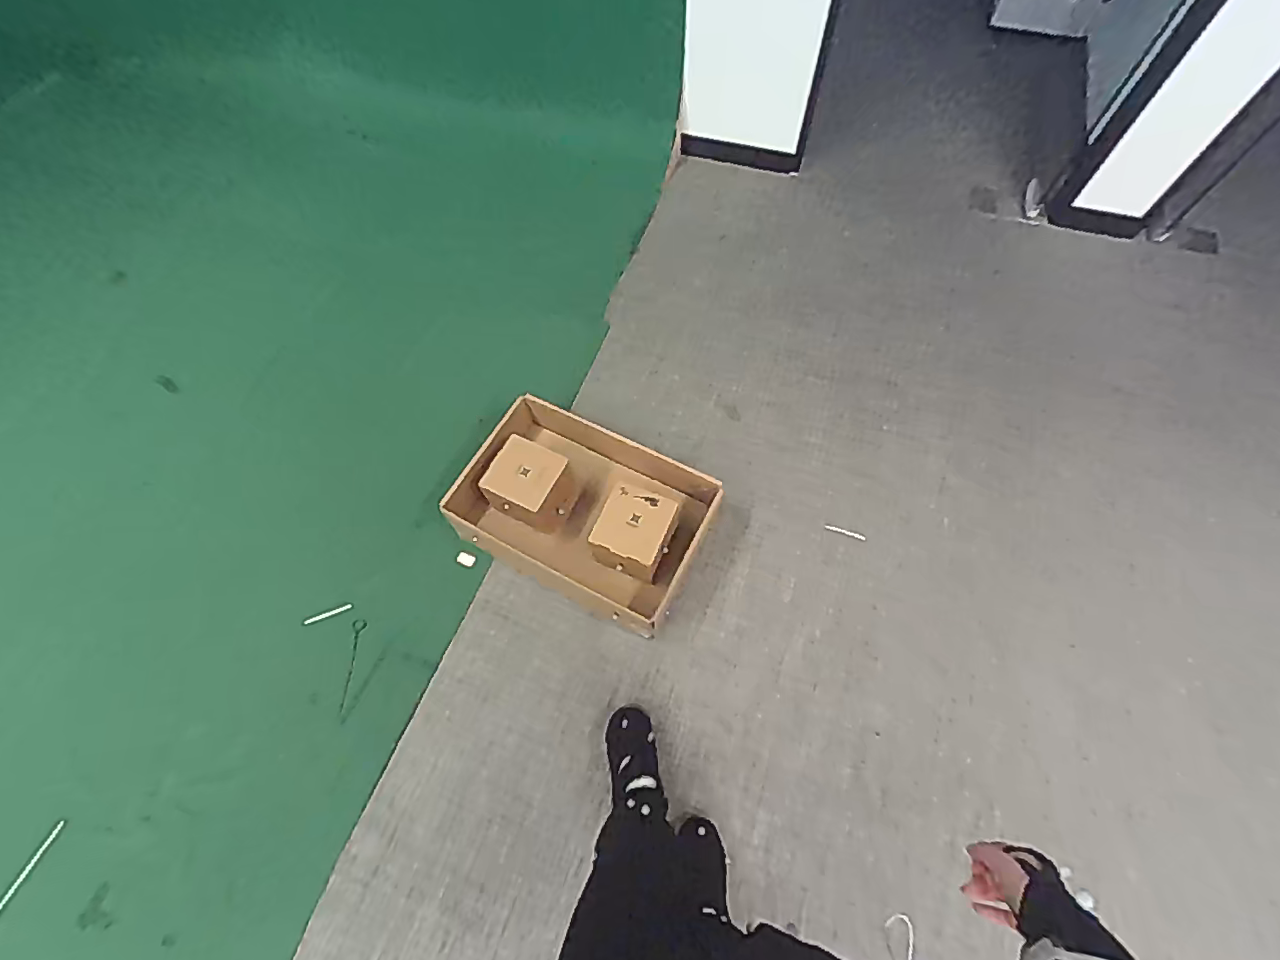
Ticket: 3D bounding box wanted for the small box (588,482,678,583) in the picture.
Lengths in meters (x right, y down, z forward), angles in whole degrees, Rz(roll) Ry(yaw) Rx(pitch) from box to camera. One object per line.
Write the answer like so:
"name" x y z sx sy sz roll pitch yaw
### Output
"small box" -0.011 0.139 1.358 0.168 0.176 0.179 22 68 12
